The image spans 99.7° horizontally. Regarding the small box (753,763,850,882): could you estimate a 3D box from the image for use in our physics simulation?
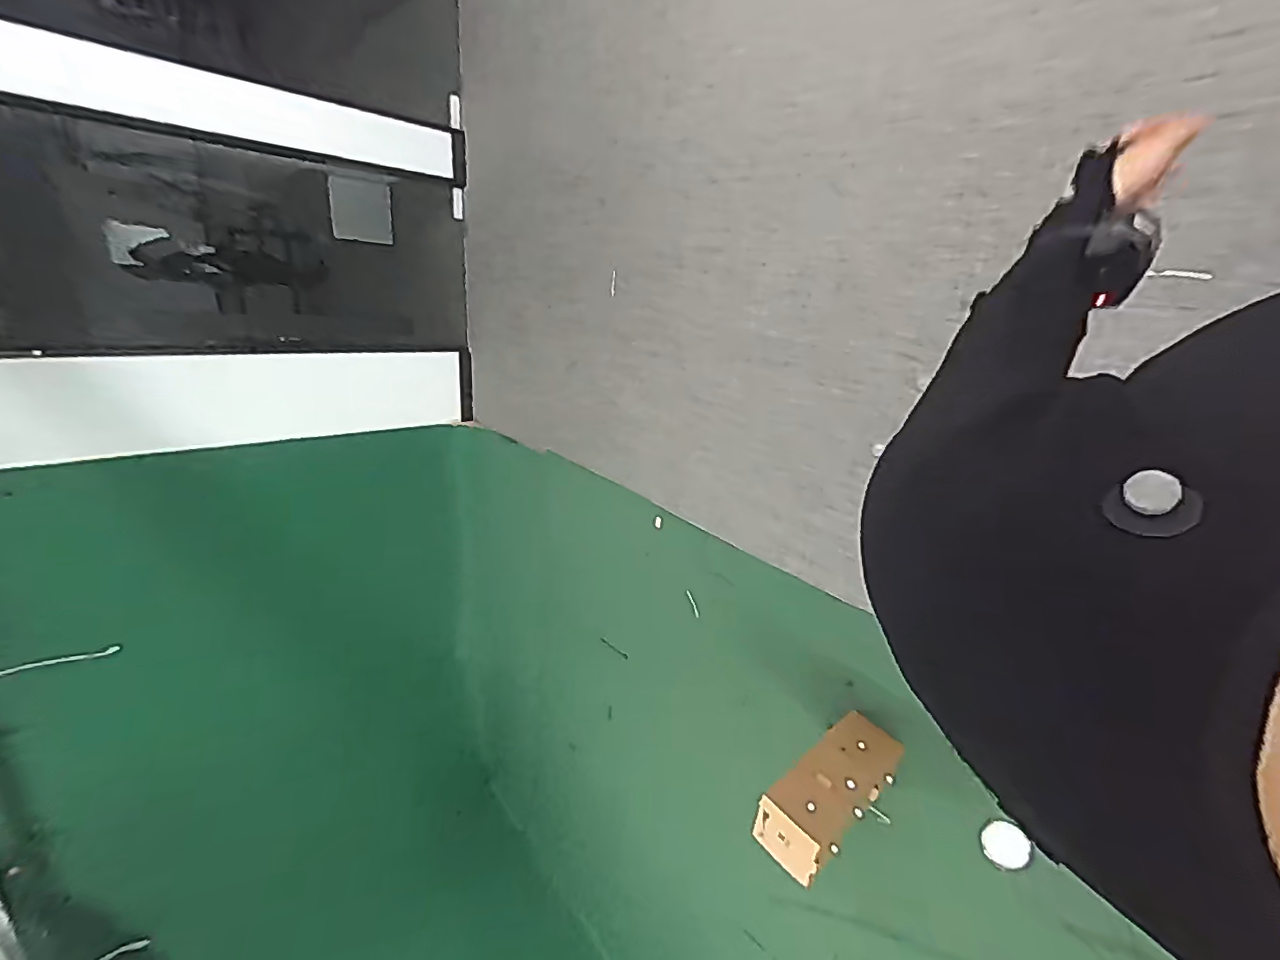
[{"bbox_3d":[0.437,0.910,1.455,0.179,0.176,0.168,28,120,42],"label":"small box"}]

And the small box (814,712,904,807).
[{"bbox_3d":[0.676,0.852,1.672,0.179,0.176,0.168,30,120,42],"label":"small box"}]
